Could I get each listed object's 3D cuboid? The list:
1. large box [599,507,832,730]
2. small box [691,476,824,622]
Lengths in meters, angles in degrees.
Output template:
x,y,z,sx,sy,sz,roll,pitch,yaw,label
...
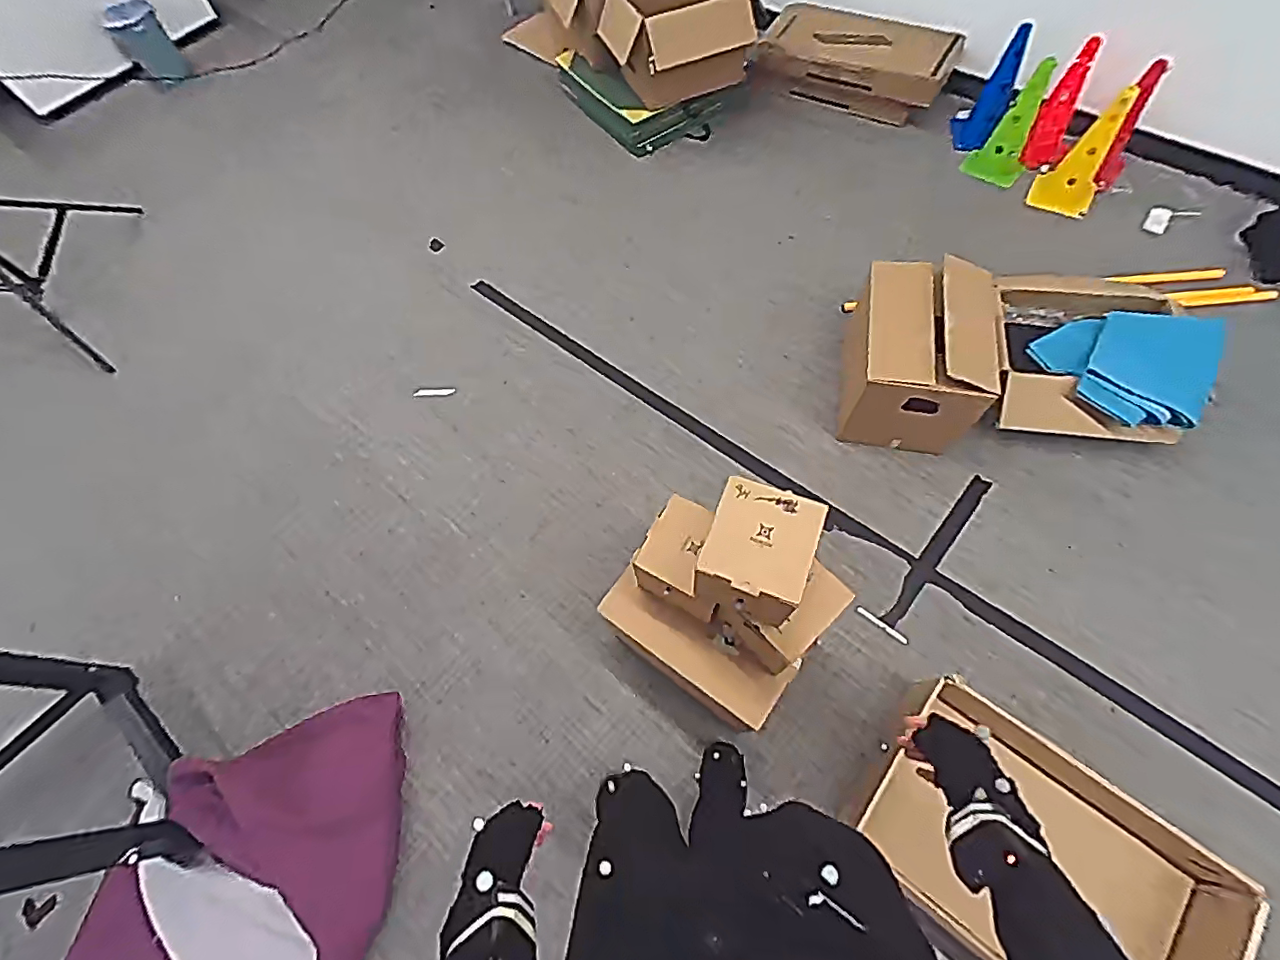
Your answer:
x,y,z,sx,sy,sz,roll,pitch,yaw,label
0.165,0.332,1.278,0.408,0.320,0.320,32,72,17,large box
0.195,0.125,0.922,0.168,0.176,0.179,19,68,13,small box
